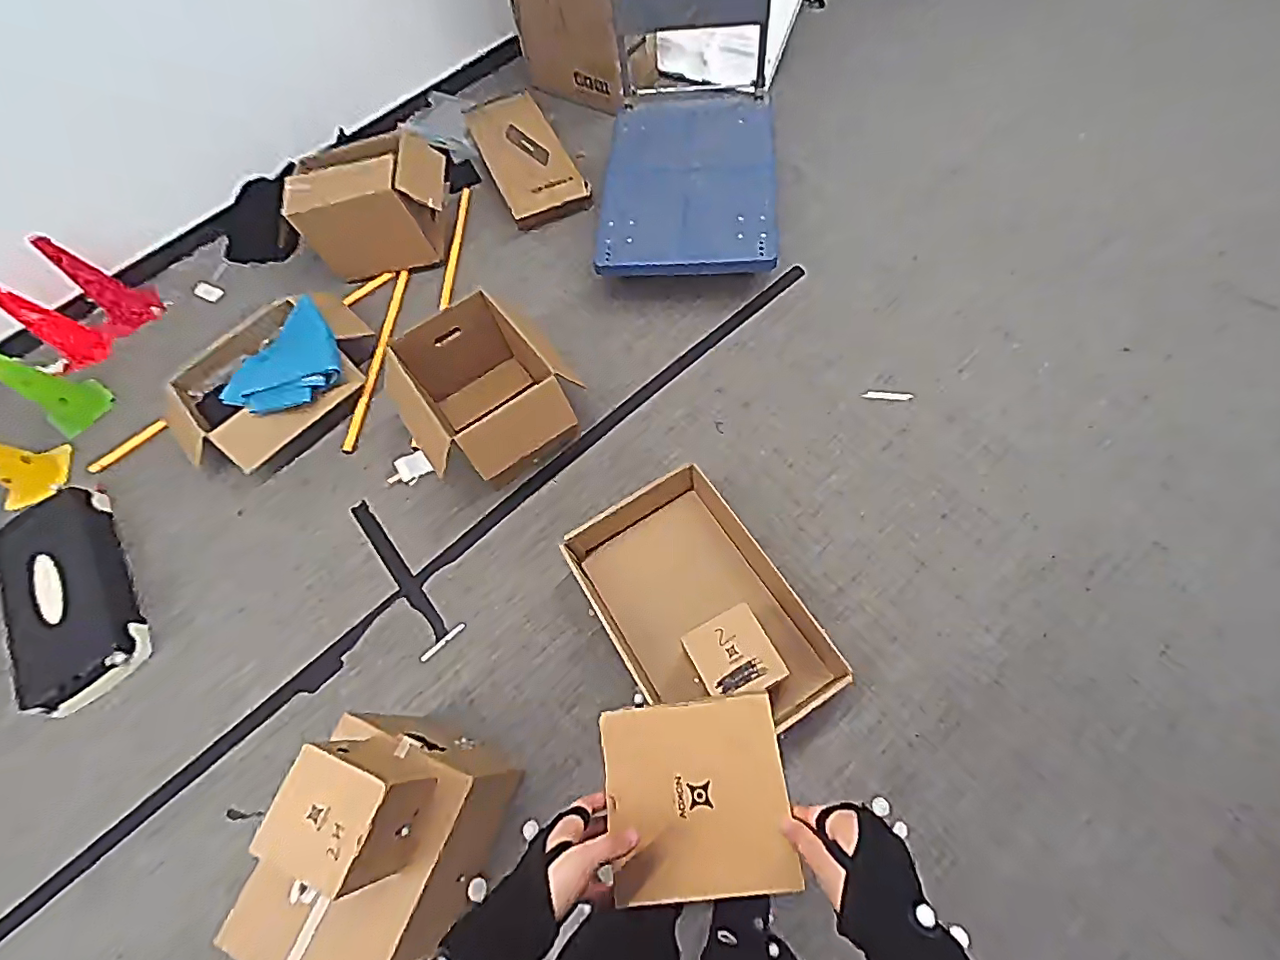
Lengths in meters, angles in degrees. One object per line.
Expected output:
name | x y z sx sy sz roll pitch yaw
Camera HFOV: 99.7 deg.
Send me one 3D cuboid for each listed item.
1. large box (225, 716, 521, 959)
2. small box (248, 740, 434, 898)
large box | -0.498 0.740 1.105 0.320 0.320 0.408 17 69 16
small box | -0.492 0.558 0.916 0.179 0.176 0.168 16 69 14
